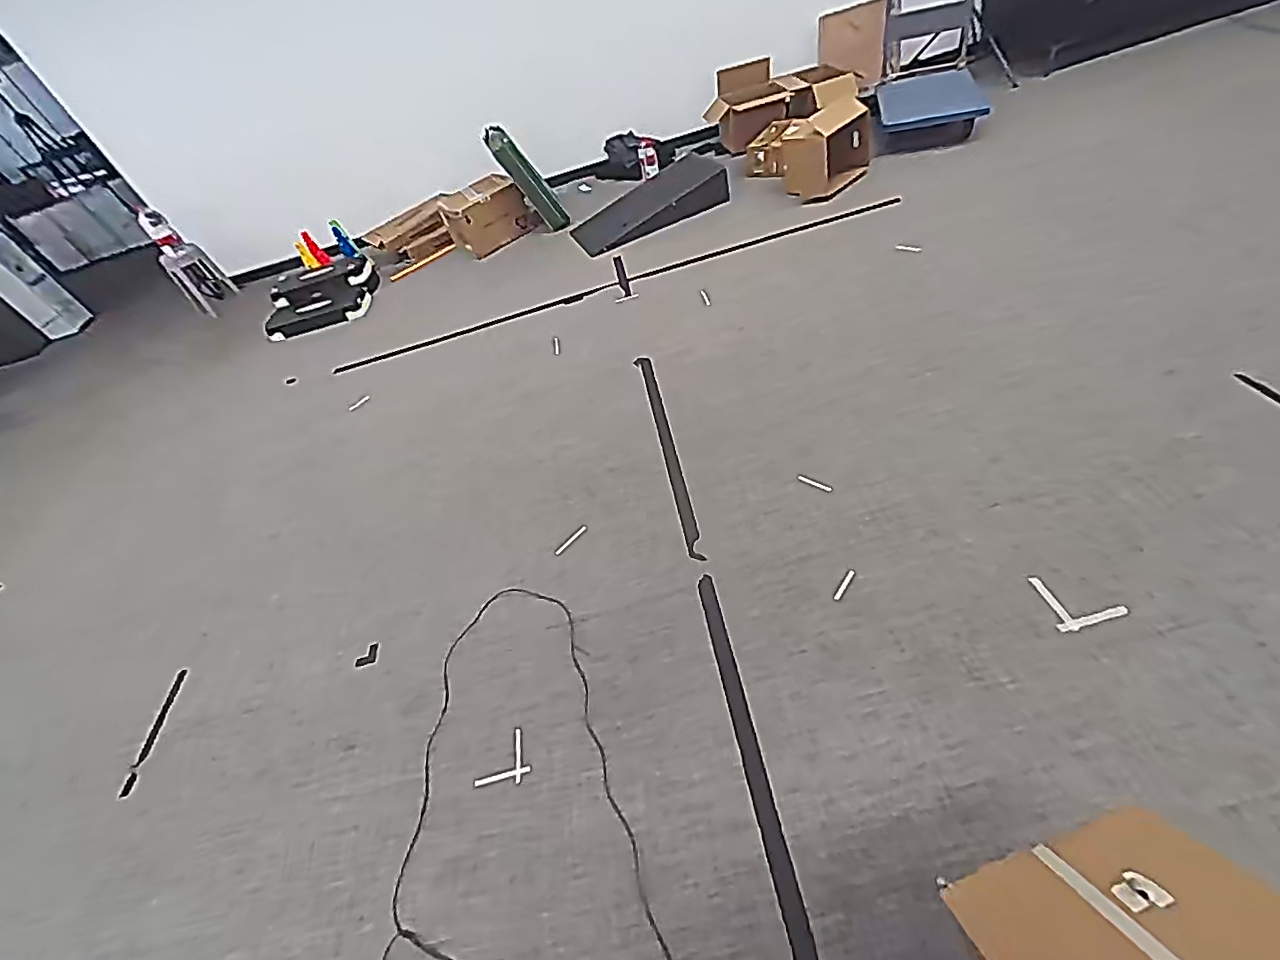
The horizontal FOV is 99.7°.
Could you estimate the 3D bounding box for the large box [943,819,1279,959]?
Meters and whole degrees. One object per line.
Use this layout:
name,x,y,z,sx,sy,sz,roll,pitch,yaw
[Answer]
large box,0.630,0.664,0.573,0.320,0.408,0.320,-24,81,1
